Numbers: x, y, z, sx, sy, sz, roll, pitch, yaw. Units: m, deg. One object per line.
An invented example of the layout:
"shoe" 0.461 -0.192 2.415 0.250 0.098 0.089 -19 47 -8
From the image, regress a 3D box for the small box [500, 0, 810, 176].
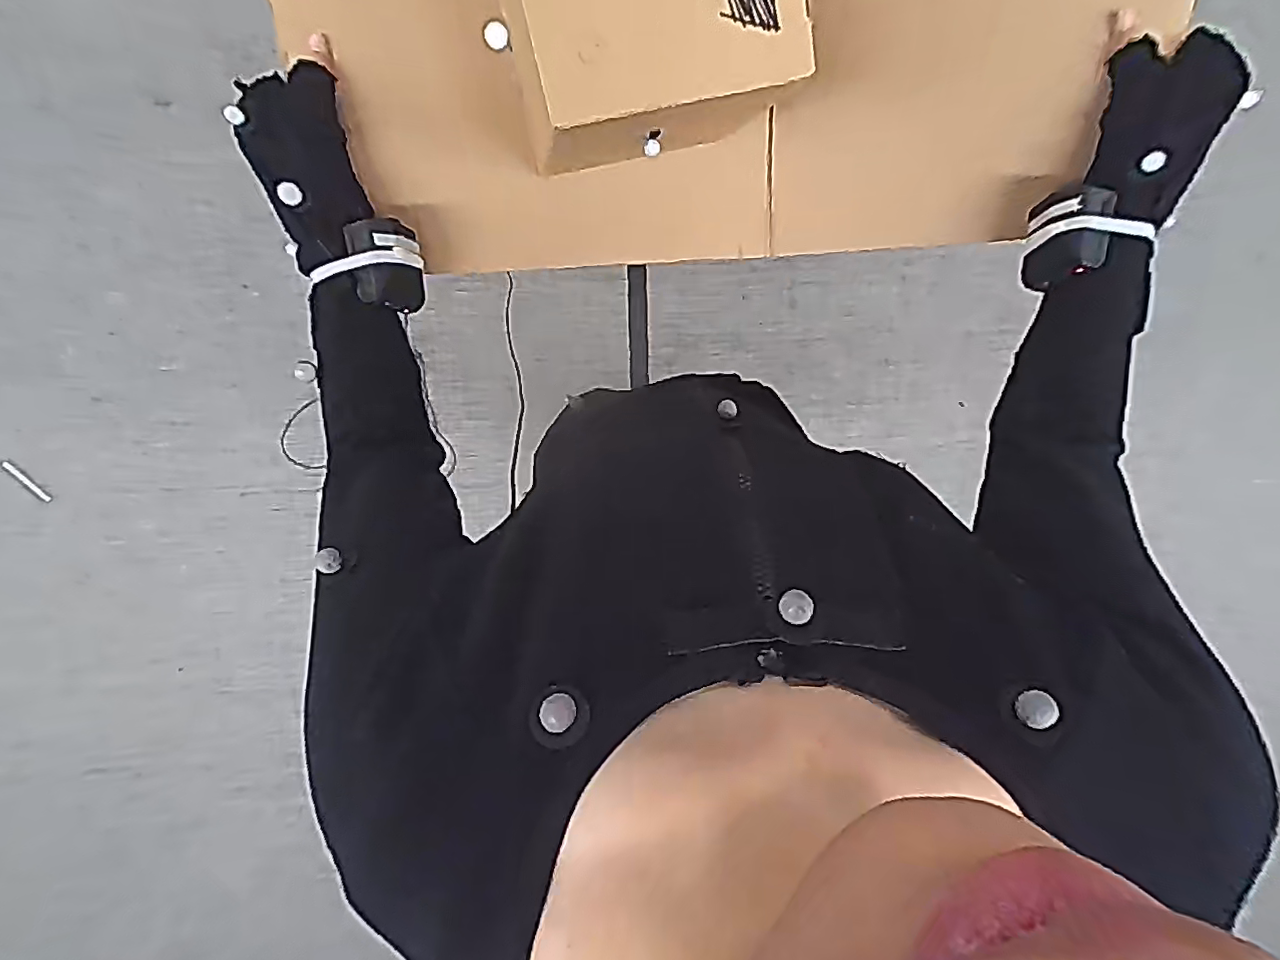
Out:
"small box" -0.002 -0.338 0.390 0.179 0.176 0.168 -16 112 -6
